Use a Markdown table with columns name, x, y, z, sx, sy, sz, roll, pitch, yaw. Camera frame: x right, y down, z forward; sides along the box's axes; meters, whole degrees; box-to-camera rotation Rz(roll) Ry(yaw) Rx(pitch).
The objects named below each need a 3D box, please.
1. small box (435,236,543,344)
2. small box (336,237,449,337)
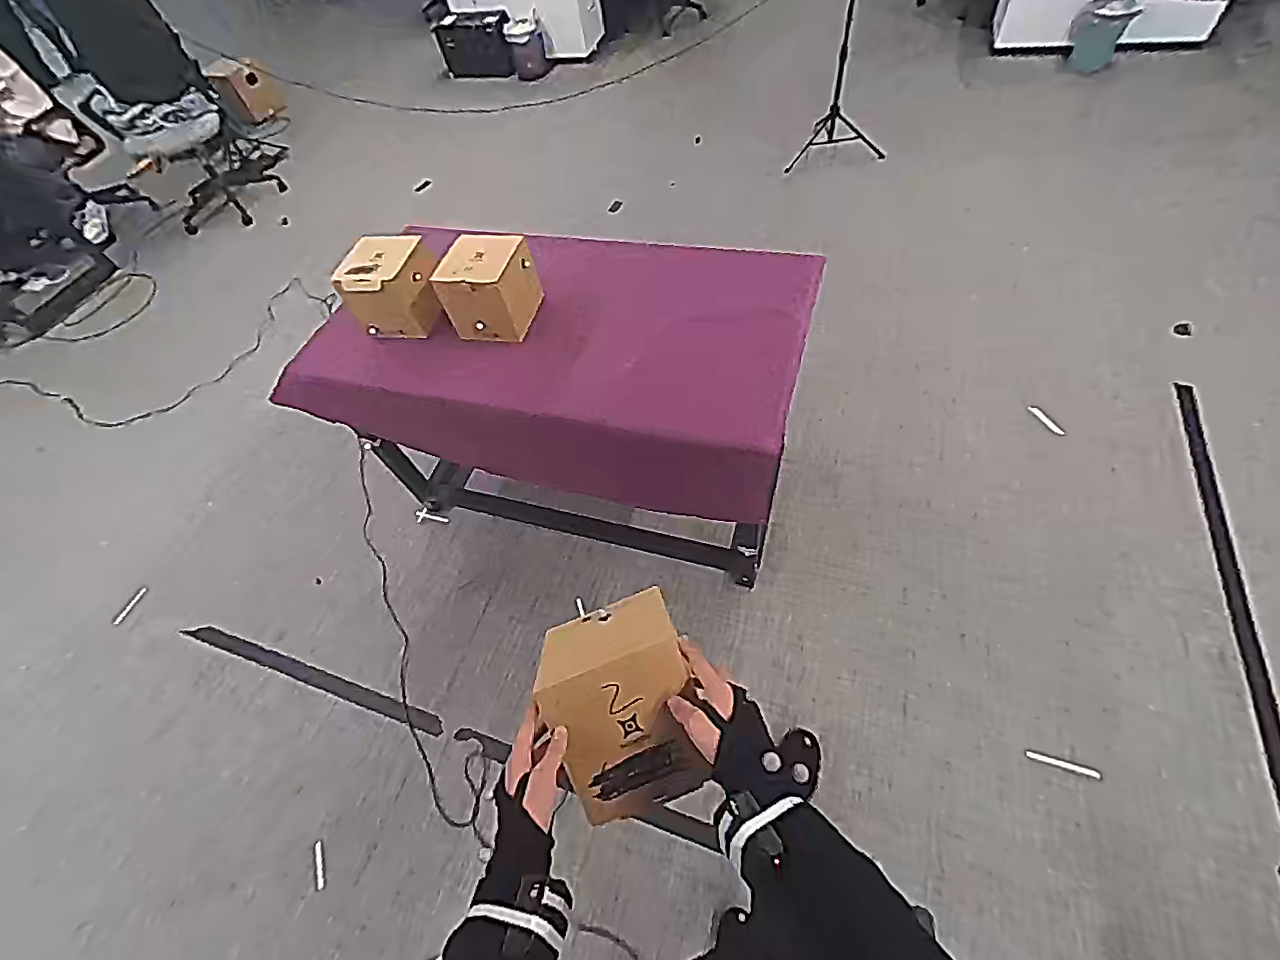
| name | x | y | z | sx | sy | sz | roll | pitch | yaw |
| --- | --- | --- | --- | --- | --- | --- | --- | --- | --- |
| small box | -0.344 | -0.449 | 1.277 | 0.168 | 0.176 | 0.179 | 7 | 59 | 14 |
| small box | -0.595 | -0.471 | 1.331 | 0.168 | 0.176 | 0.179 | 4 | 57 | 11 |
